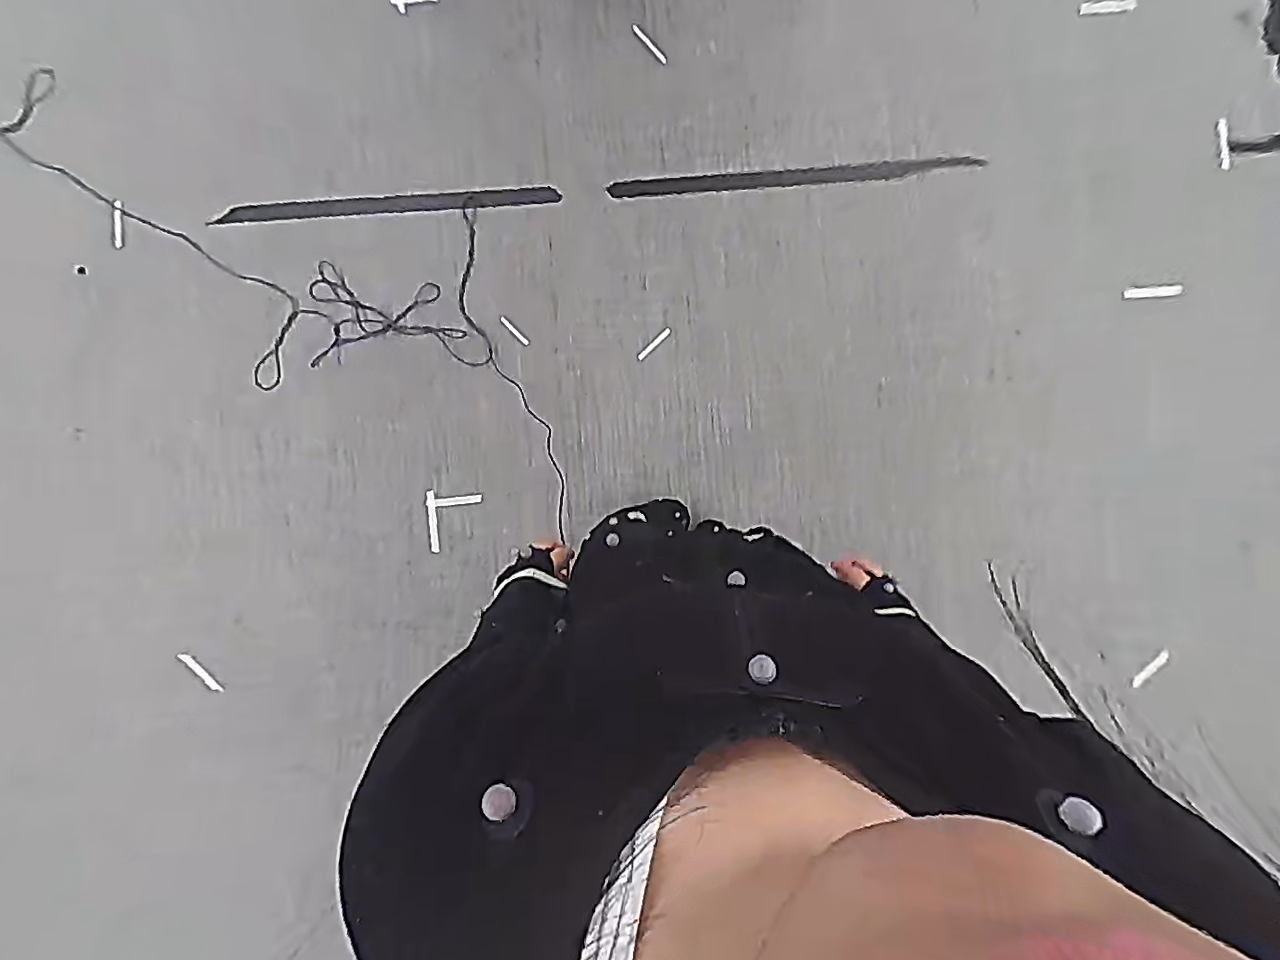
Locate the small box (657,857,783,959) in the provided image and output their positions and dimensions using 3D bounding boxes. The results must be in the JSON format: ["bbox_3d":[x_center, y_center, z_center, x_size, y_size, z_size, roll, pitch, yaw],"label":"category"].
[{"bbox_3d":[0.110,0.699,0.801,0.168,0.176,0.179,1,89,2],"label":"small box"}]
